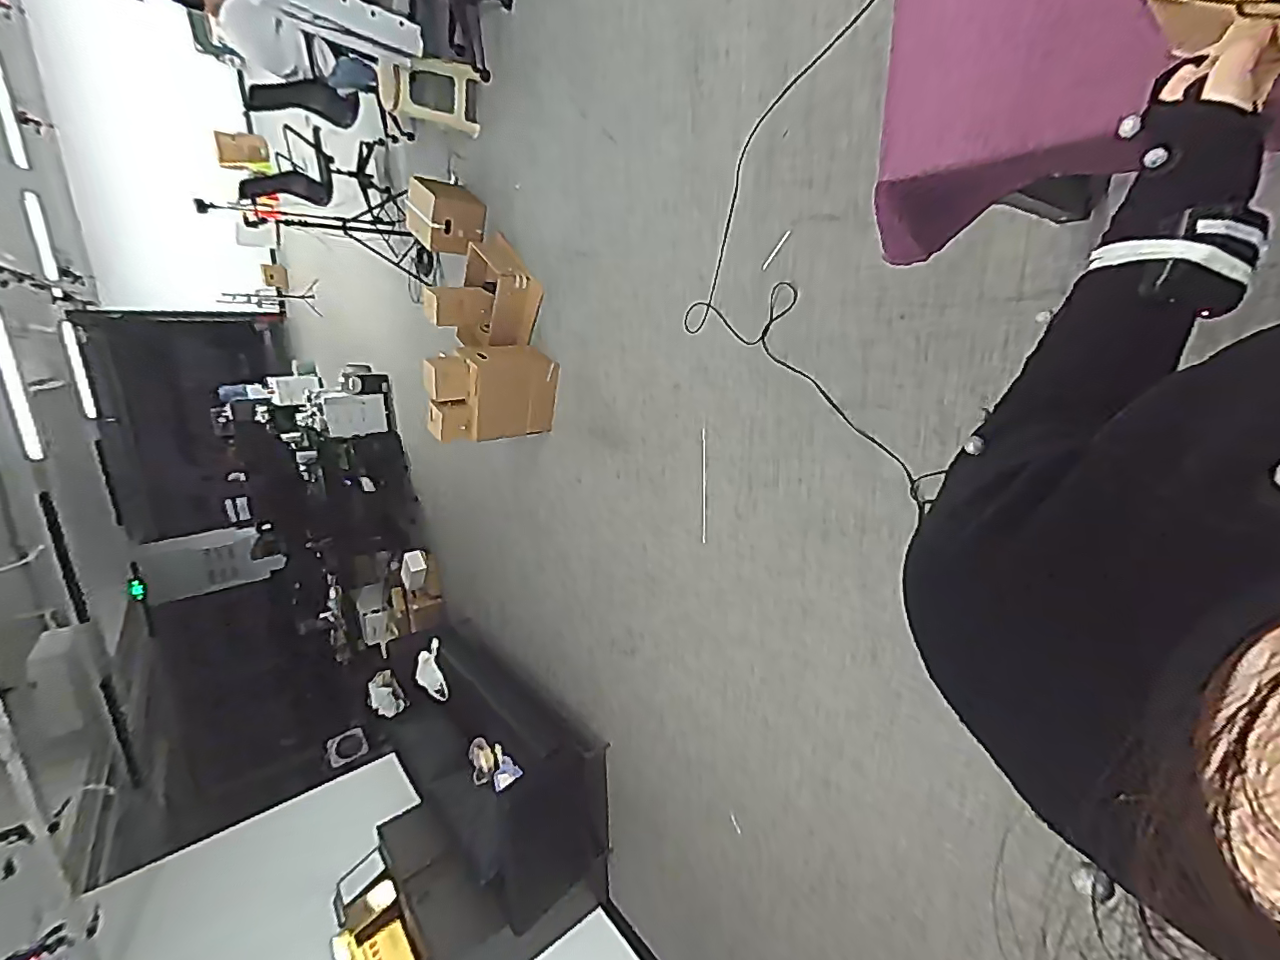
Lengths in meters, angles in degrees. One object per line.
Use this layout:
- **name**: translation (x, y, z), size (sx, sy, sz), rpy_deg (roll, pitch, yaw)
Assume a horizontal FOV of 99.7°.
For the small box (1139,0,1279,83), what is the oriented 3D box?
- **small box**: translation (0.521, -0.411, 0.387), size (0.168, 0.176, 0.179), rpy_deg (43, 134, 32)
